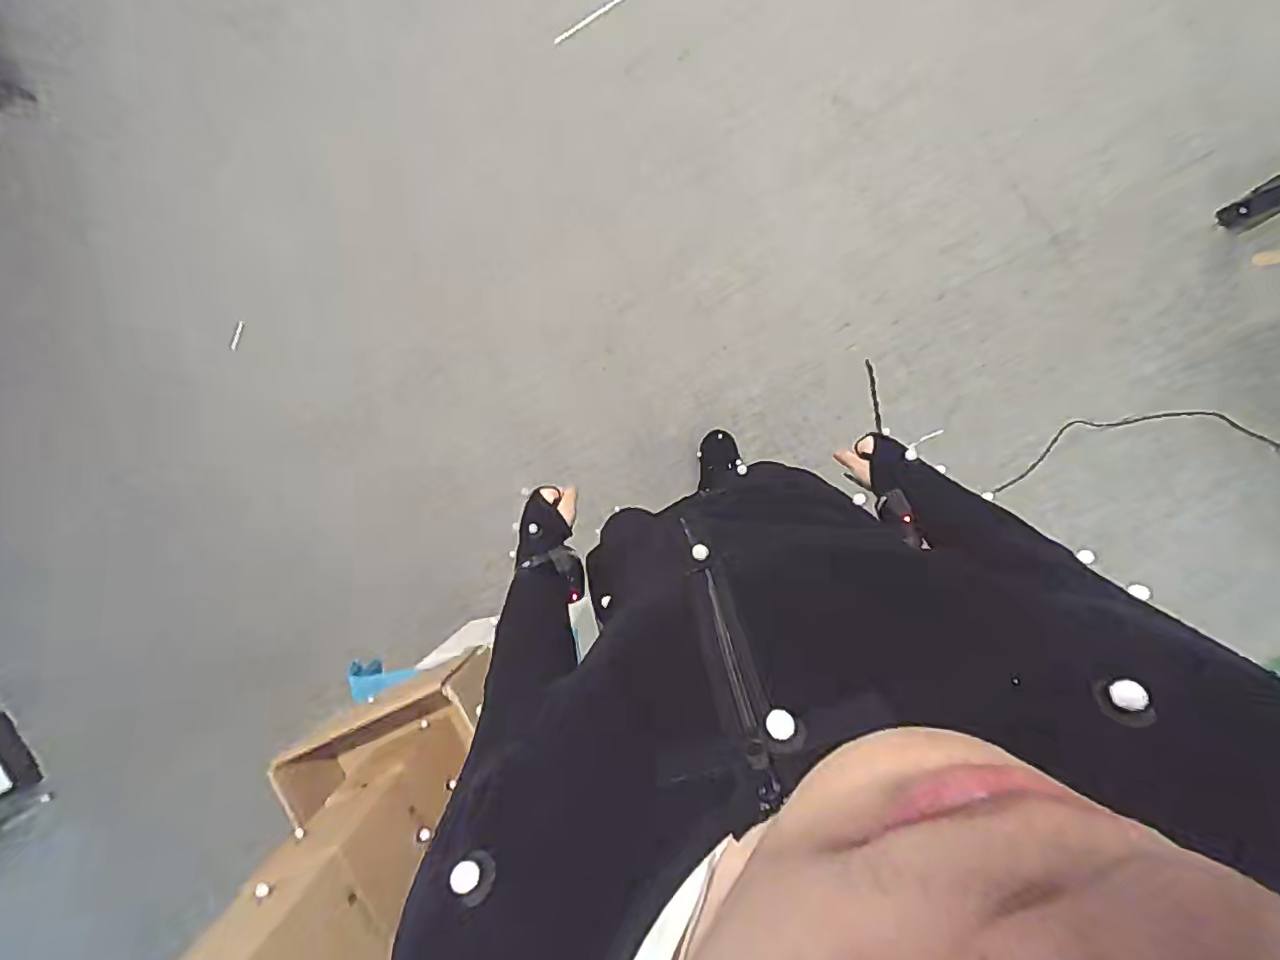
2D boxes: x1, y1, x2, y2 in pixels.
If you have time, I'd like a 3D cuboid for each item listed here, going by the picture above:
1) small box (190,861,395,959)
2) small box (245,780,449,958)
[{"bbox_3d":[-0.446,0.623,0.661,0.179,0.176,0.168,-29,92,9],"label":"small box"},{"bbox_3d":[-0.431,0.604,0.823,0.179,0.176,0.168,-29,92,9],"label":"small box"}]
